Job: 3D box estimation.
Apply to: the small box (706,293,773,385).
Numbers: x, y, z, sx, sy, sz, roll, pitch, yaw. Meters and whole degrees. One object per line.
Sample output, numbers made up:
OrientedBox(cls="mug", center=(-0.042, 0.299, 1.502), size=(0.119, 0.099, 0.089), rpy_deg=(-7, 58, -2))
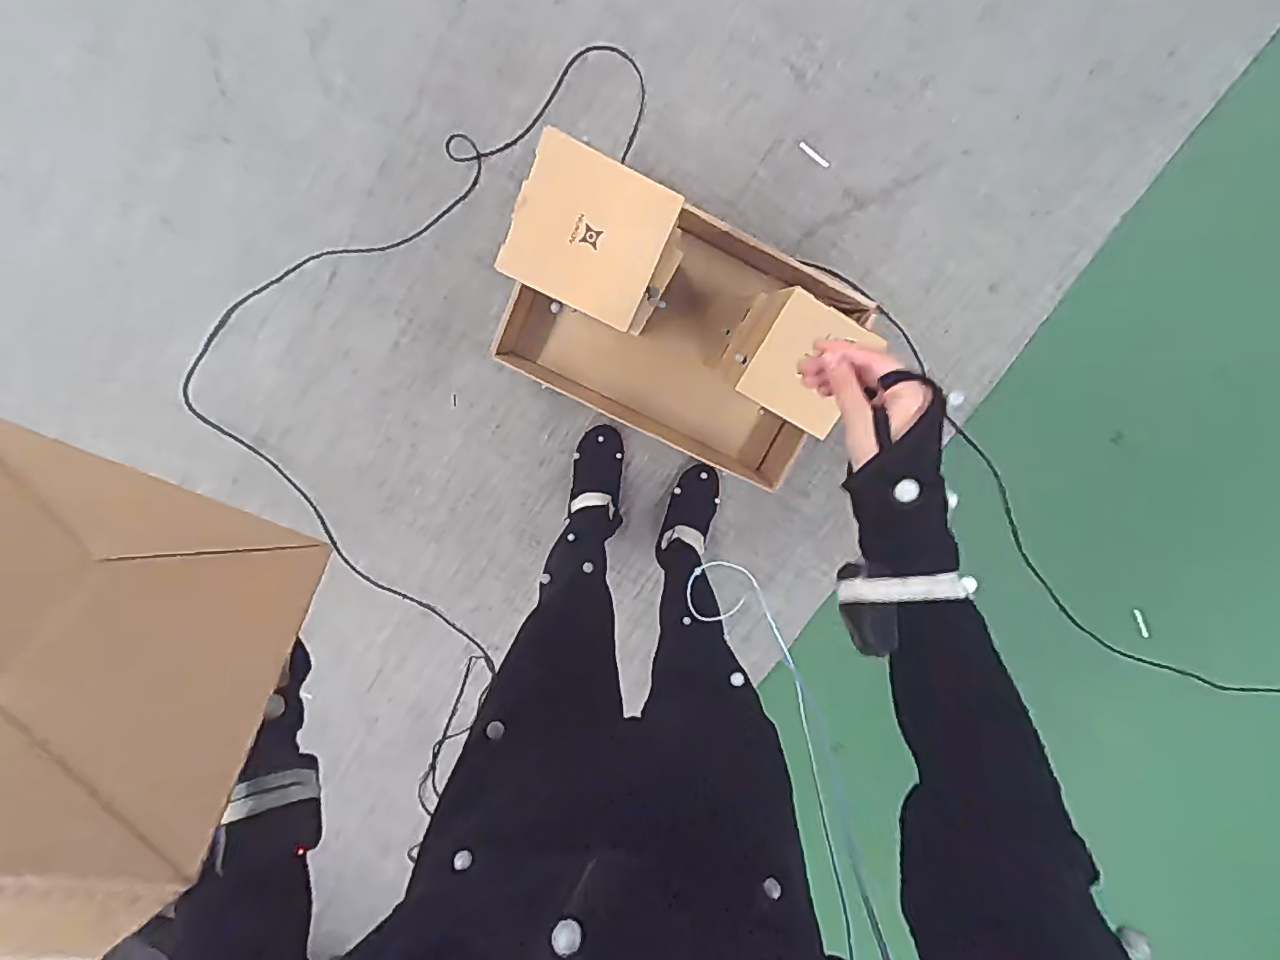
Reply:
OrientedBox(cls="small box", center=(0.245, -0.238, 1.052), size=(0.179, 0.176, 0.168), rpy_deg=(30, 103, -6))

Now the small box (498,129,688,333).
OrientedBox(cls="small box", center=(-0.054, -0.307, 0.701), size=(0.179, 0.176, 0.168), rpy_deg=(25, 105, -5))

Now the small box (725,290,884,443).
OrientedBox(cls="small box", center=(0.255, -0.188, 0.894), size=(0.168, 0.176, 0.179), rpy_deg=(30, 102, -8))
